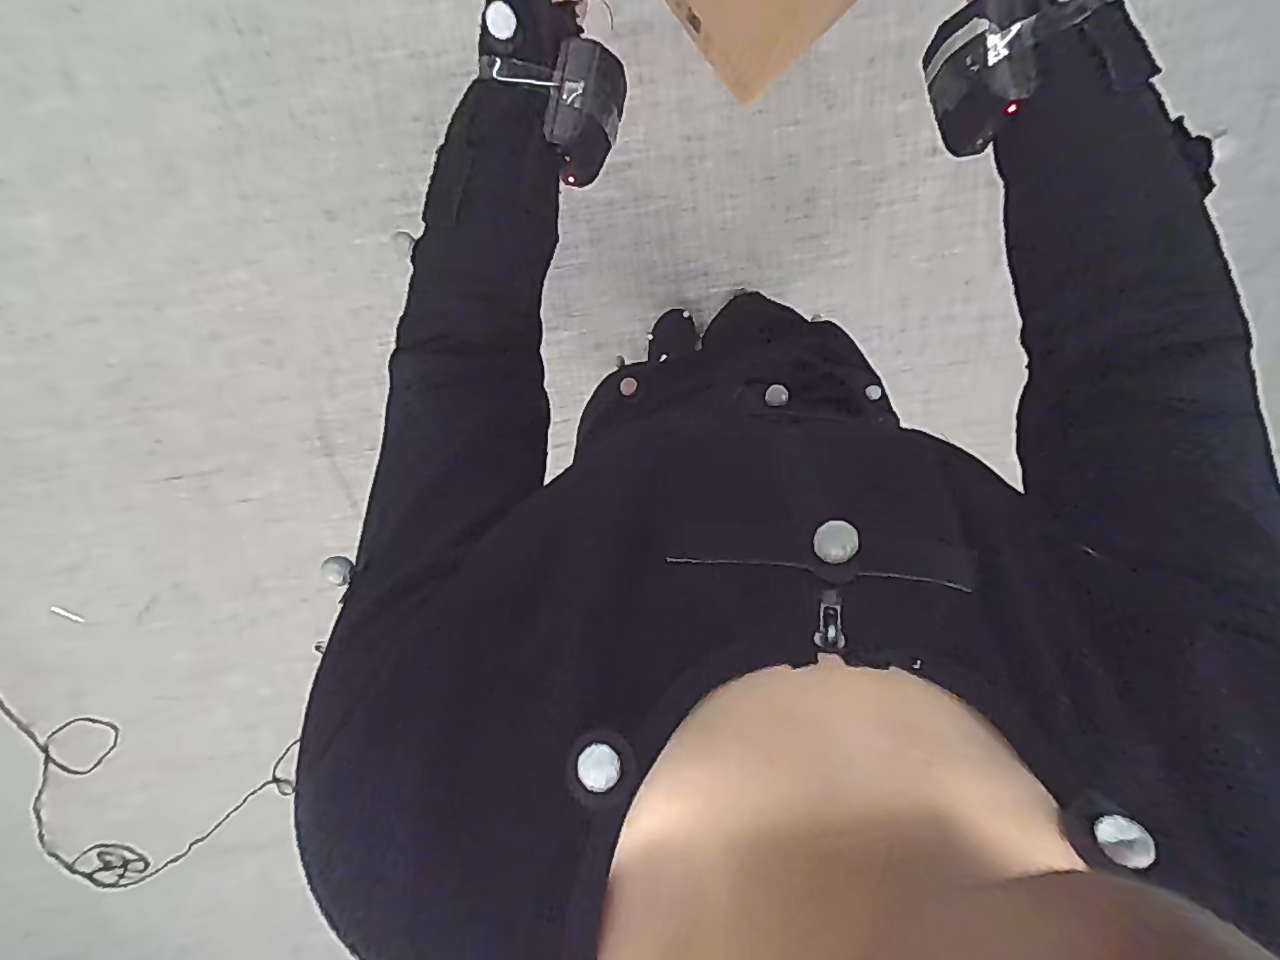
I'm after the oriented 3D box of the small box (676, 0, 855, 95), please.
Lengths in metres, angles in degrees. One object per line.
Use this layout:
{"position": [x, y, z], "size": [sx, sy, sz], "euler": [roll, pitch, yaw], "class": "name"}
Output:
{"position": [0.087, -0.360, 0.286], "size": [0.179, 0.176, 0.168], "euler": [-42, 103, 9], "class": "small box"}
